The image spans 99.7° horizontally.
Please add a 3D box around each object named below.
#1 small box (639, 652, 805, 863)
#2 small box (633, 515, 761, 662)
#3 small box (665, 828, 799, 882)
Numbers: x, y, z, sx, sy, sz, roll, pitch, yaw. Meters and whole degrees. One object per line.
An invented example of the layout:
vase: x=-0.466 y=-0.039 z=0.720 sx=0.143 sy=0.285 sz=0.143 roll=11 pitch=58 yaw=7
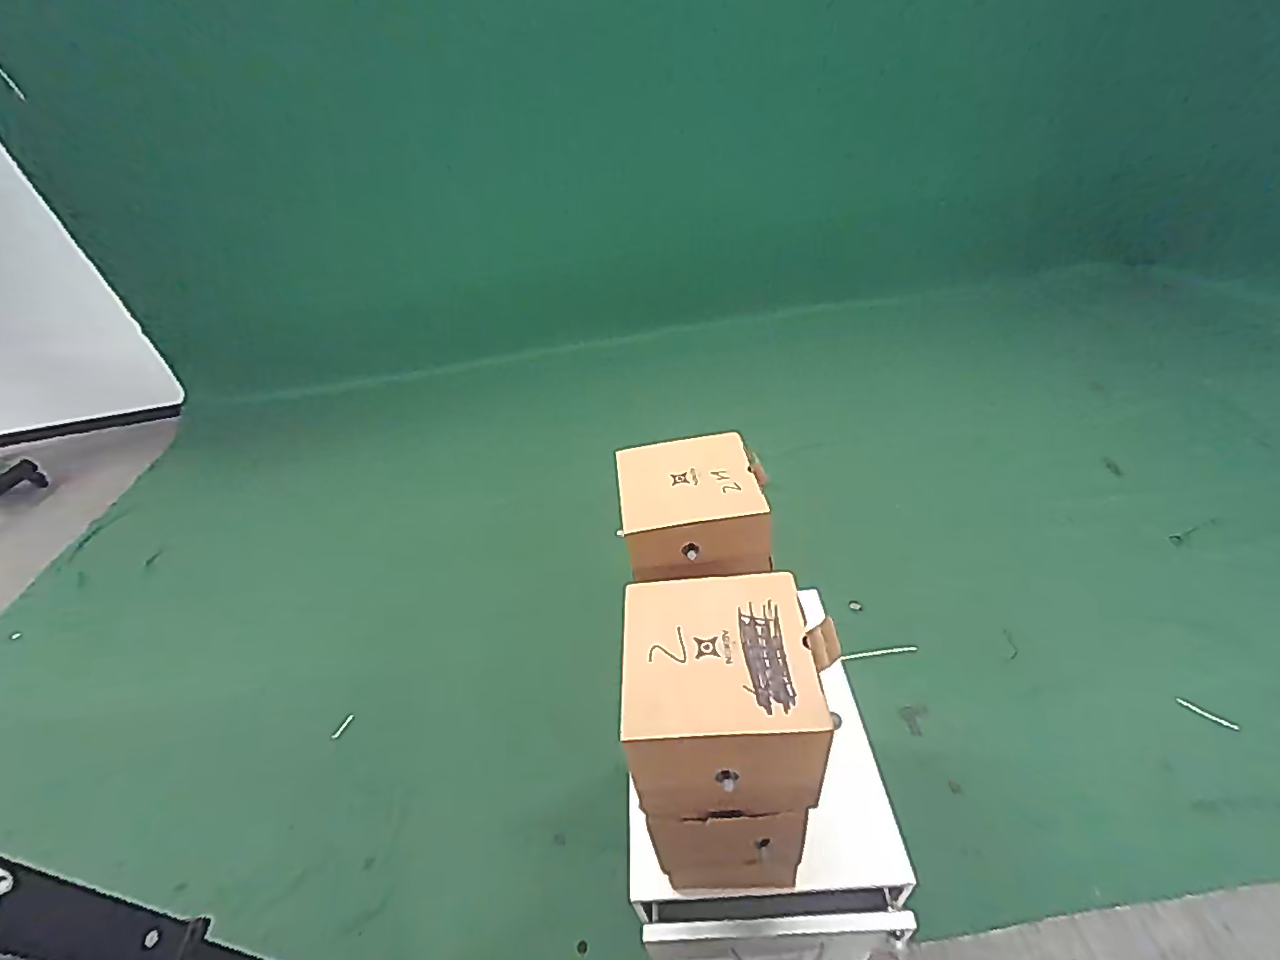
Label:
small box: x=0.091 y=0.334 z=0.646 sx=0.168 sy=0.176 sz=0.179 roll=-6 pitch=39 yaw=3
small box: x=0.090 y=0.173 z=0.839 sx=0.179 sy=0.176 sz=0.168 roll=-4 pitch=40 yaw=6
small box: x=0.118 y=0.444 z=0.761 sx=0.179 sy=0.176 sz=0.168 roll=-4 pitch=39 yaw=5
